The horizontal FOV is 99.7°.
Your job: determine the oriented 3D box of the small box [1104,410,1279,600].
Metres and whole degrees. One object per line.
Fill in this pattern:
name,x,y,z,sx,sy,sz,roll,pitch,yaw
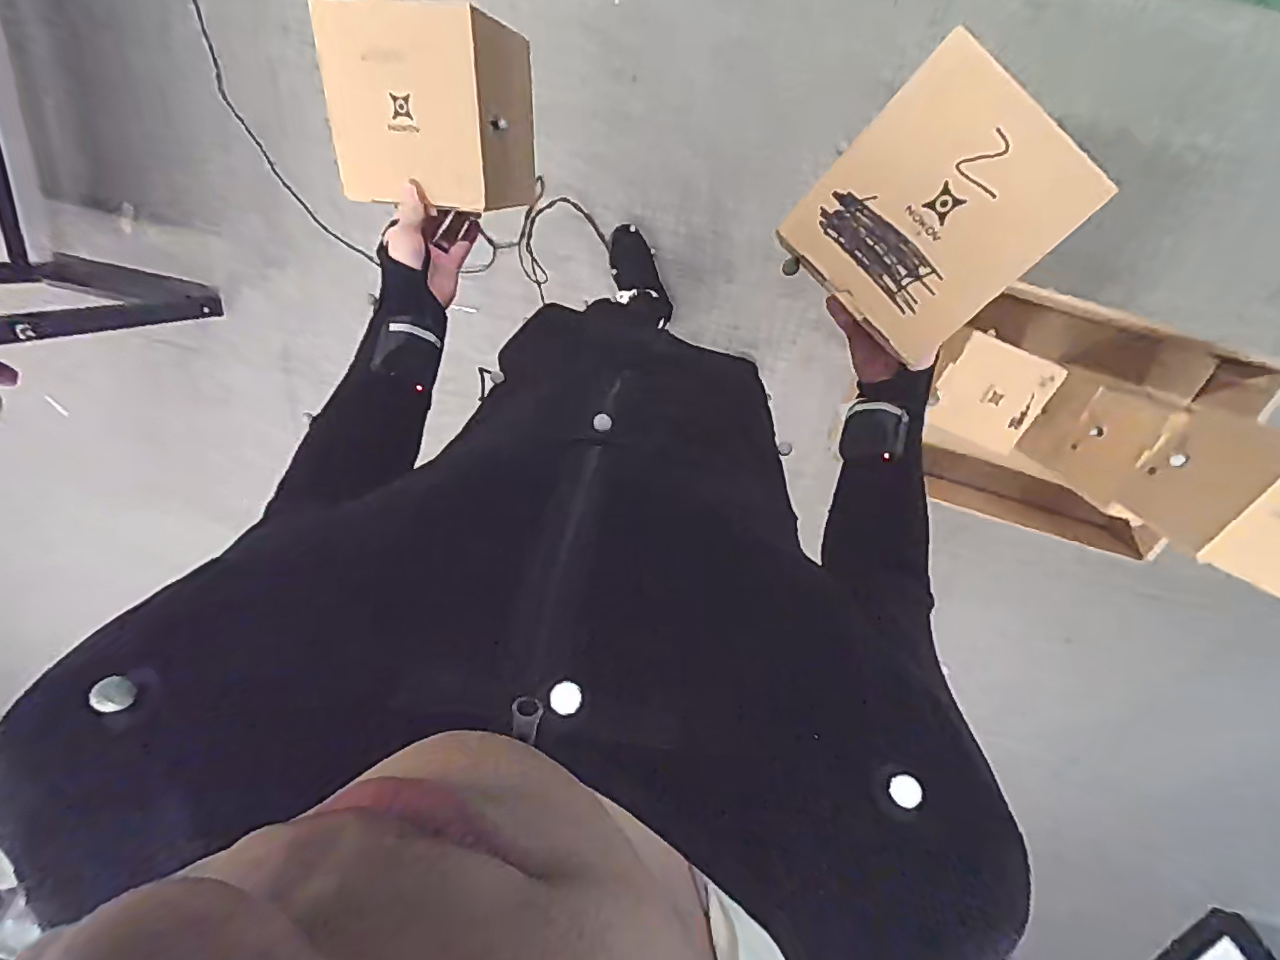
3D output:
small box,0.790,0.027,0.711,0.179,0.176,0.168,25,114,-1

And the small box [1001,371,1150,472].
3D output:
small box,0.832,-0.094,1.012,0.179,0.176,0.168,17,113,2

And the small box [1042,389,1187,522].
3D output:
small box,0.807,-0.033,0.863,0.179,0.176,0.168,16,114,2

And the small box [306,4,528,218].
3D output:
small box,-0.233,-0.411,0.621,0.168,0.176,0.179,7,120,6
